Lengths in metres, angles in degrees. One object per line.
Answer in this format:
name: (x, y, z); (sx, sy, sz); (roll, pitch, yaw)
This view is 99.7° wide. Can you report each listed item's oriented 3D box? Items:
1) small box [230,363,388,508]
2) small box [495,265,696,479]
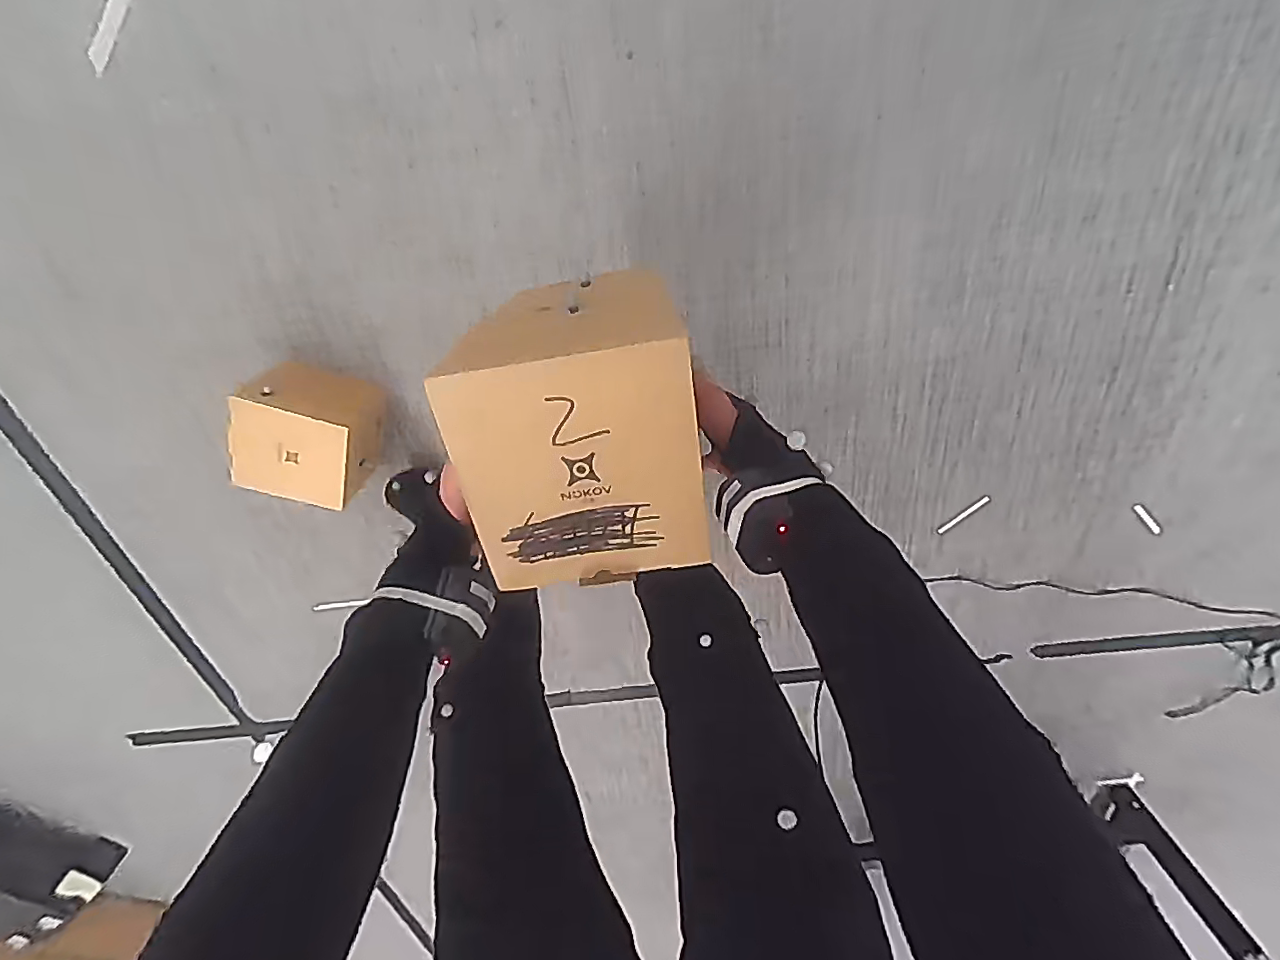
small box: (-0.553, -0.081, 0.922); (0.179, 0.176, 0.168); (16, 118, -10)
small box: (-0.040, -0.126, 0.583); (0.168, 0.176, 0.179); (-10, 118, 4)
